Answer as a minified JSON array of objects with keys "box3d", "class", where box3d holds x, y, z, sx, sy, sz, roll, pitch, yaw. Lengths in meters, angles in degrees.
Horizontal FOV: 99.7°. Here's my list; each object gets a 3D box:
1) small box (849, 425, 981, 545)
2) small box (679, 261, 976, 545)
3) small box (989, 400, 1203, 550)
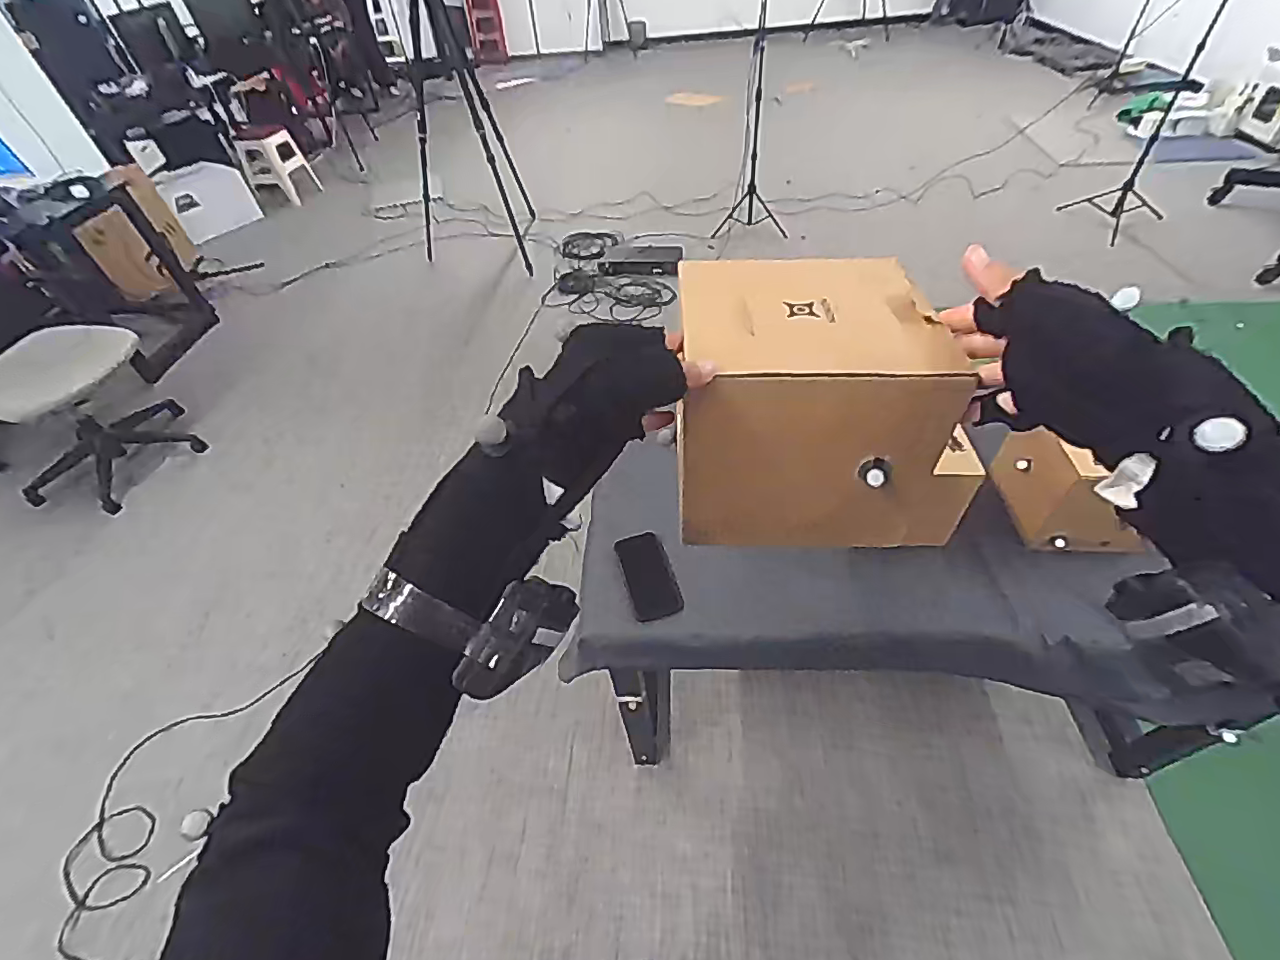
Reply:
[{"box3d":[0.403,-0.007,0.875,0.179,0.176,0.168,-1,47,5],"class":"small box"},{"box3d":[0.123,-0.060,0.441,0.179,0.176,0.168,-1,45,2],"class":"small box"},{"box3d":[0.688,-0.006,0.846,0.168,0.176,0.179,1,46,6],"class":"small box"}]
